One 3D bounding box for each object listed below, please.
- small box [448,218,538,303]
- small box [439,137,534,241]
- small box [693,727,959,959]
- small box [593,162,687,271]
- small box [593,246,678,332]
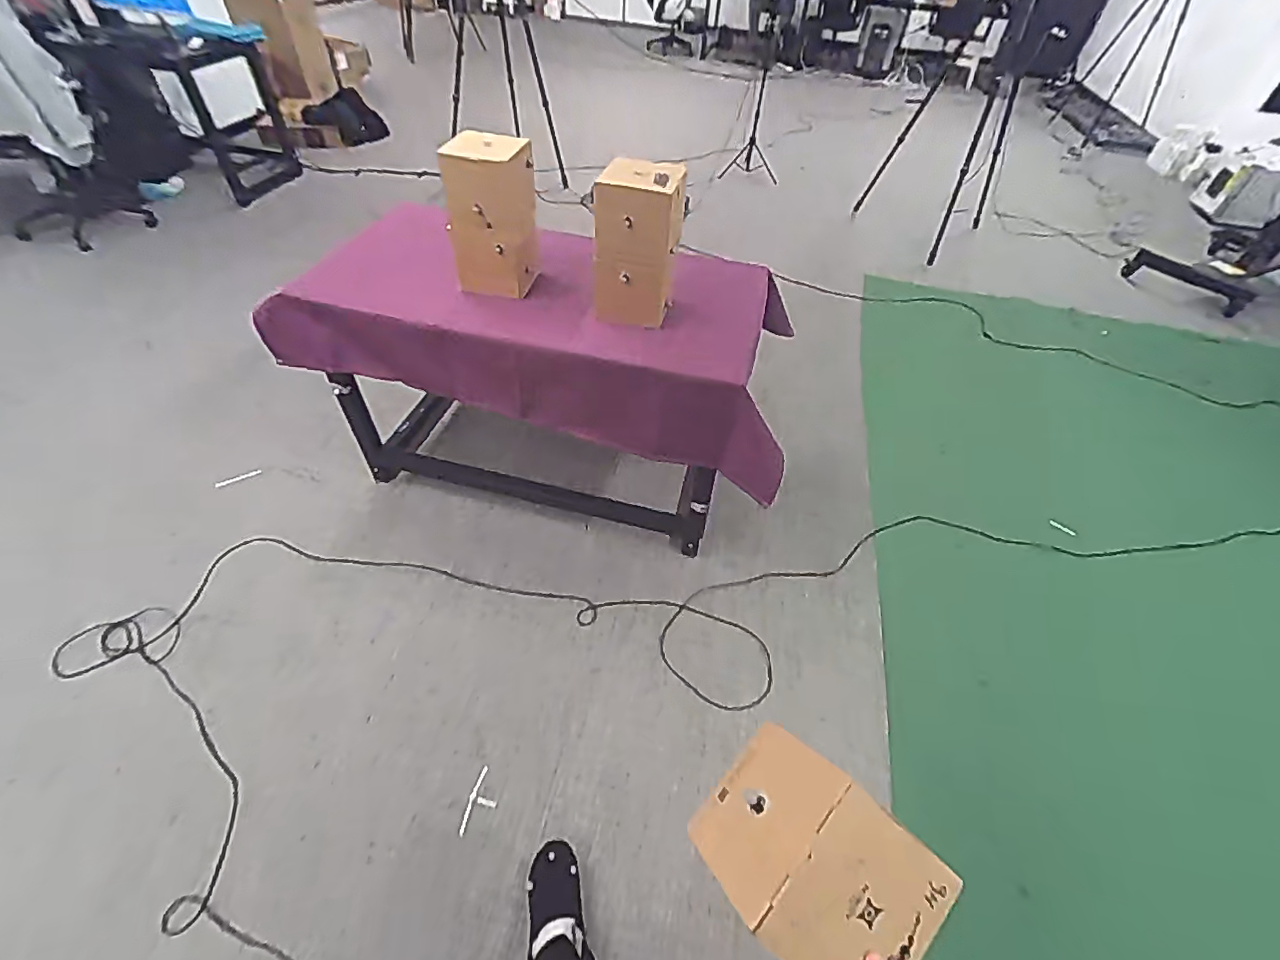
[{"bbox_3d":[-0.381,-0.590,1.433,0.179,0.176,0.168,10,48,4],"label":"small box"},{"bbox_3d":[-0.364,-0.708,1.318,0.168,0.176,0.179,10,47,4],"label":"small box"},{"bbox_3d":[0.188,0.402,0.591,0.179,0.176,0.168,45,76,-9],"label":"small box"},{"bbox_3d":[0.000,-0.606,1.253,0.179,0.176,0.168,13,49,8],"label":"small box"},{"bbox_3d":[-0.012,-0.498,1.376,0.179,0.176,0.168,14,49,7],"label":"small box"}]
